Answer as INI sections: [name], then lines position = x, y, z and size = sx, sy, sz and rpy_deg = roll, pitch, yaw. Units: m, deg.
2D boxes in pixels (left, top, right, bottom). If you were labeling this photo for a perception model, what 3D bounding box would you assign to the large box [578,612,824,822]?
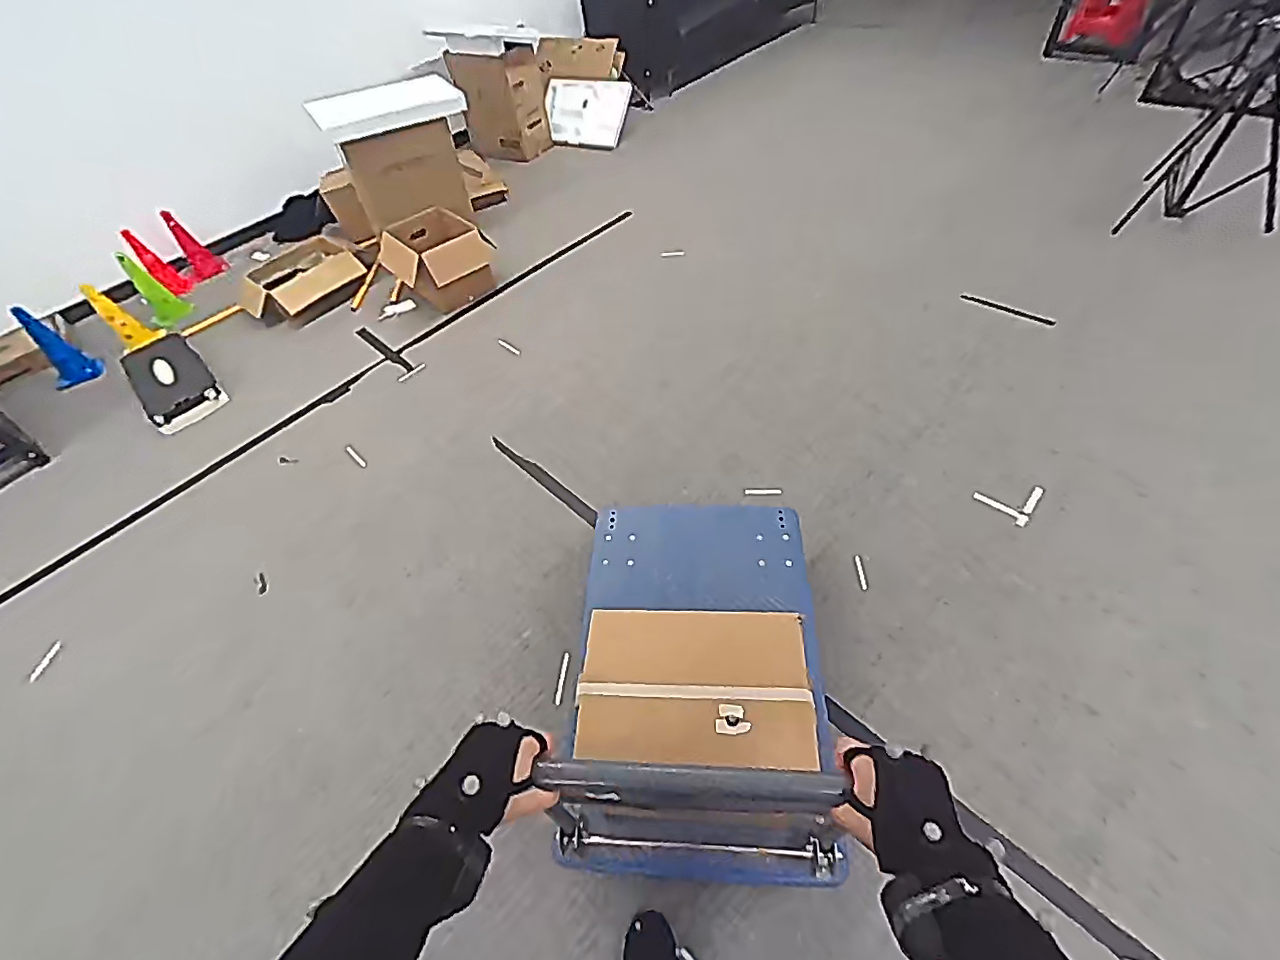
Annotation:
[large box]
position = 0.111, 0.473, 1.075
size = 0.408, 0.320, 0.320
rpy_deg = -1, 51, 6
